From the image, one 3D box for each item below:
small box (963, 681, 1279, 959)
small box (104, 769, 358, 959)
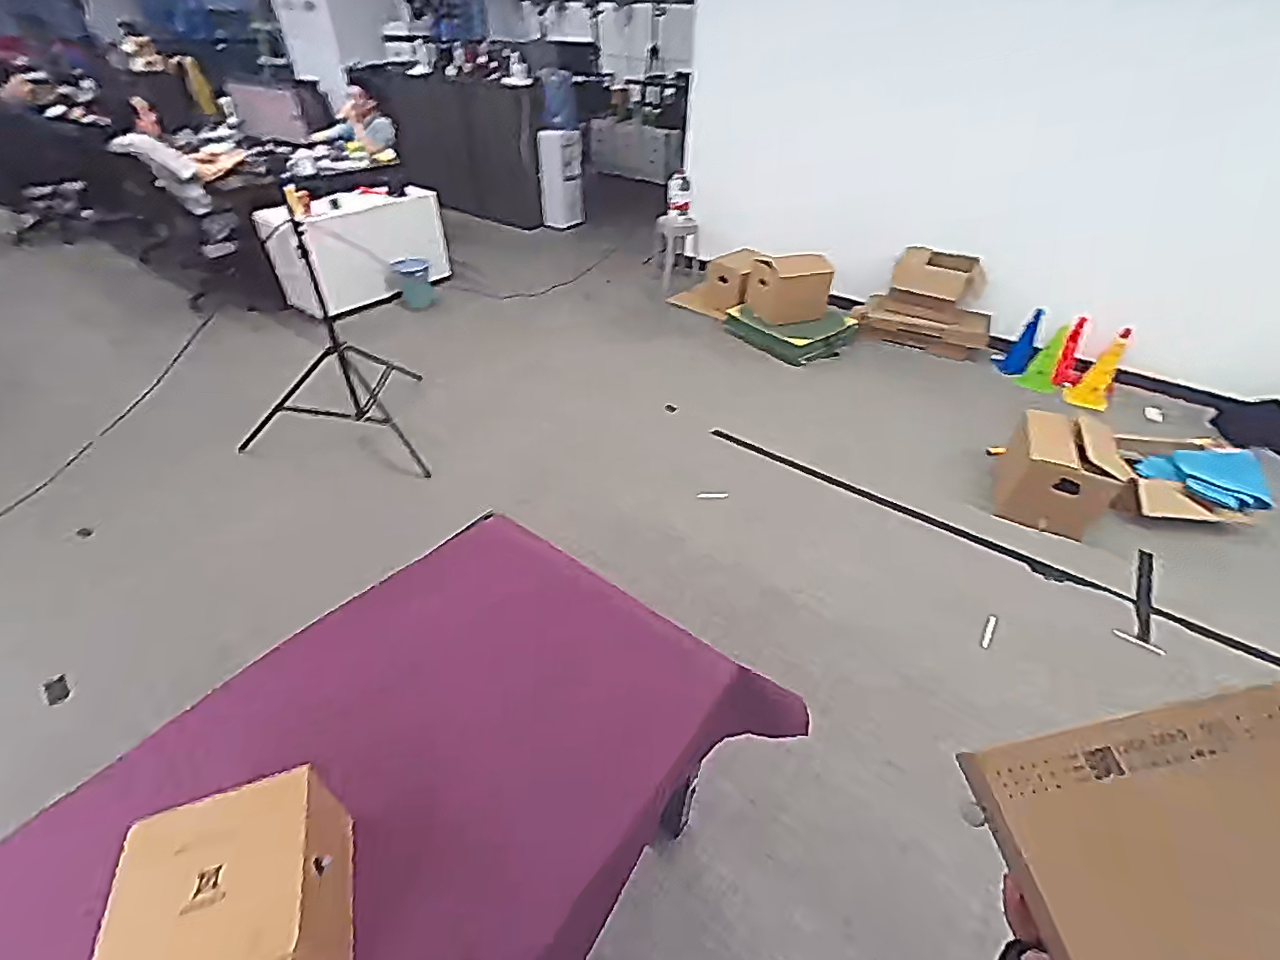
[{"bbox_3d":[0.325,0.232,0.332,0.168,0.179,0.176,-23,57,15],"label":"small box"},{"bbox_3d":[-0.412,0.455,0.575,0.168,0.176,0.179,-14,41,-18],"label":"small box"}]
